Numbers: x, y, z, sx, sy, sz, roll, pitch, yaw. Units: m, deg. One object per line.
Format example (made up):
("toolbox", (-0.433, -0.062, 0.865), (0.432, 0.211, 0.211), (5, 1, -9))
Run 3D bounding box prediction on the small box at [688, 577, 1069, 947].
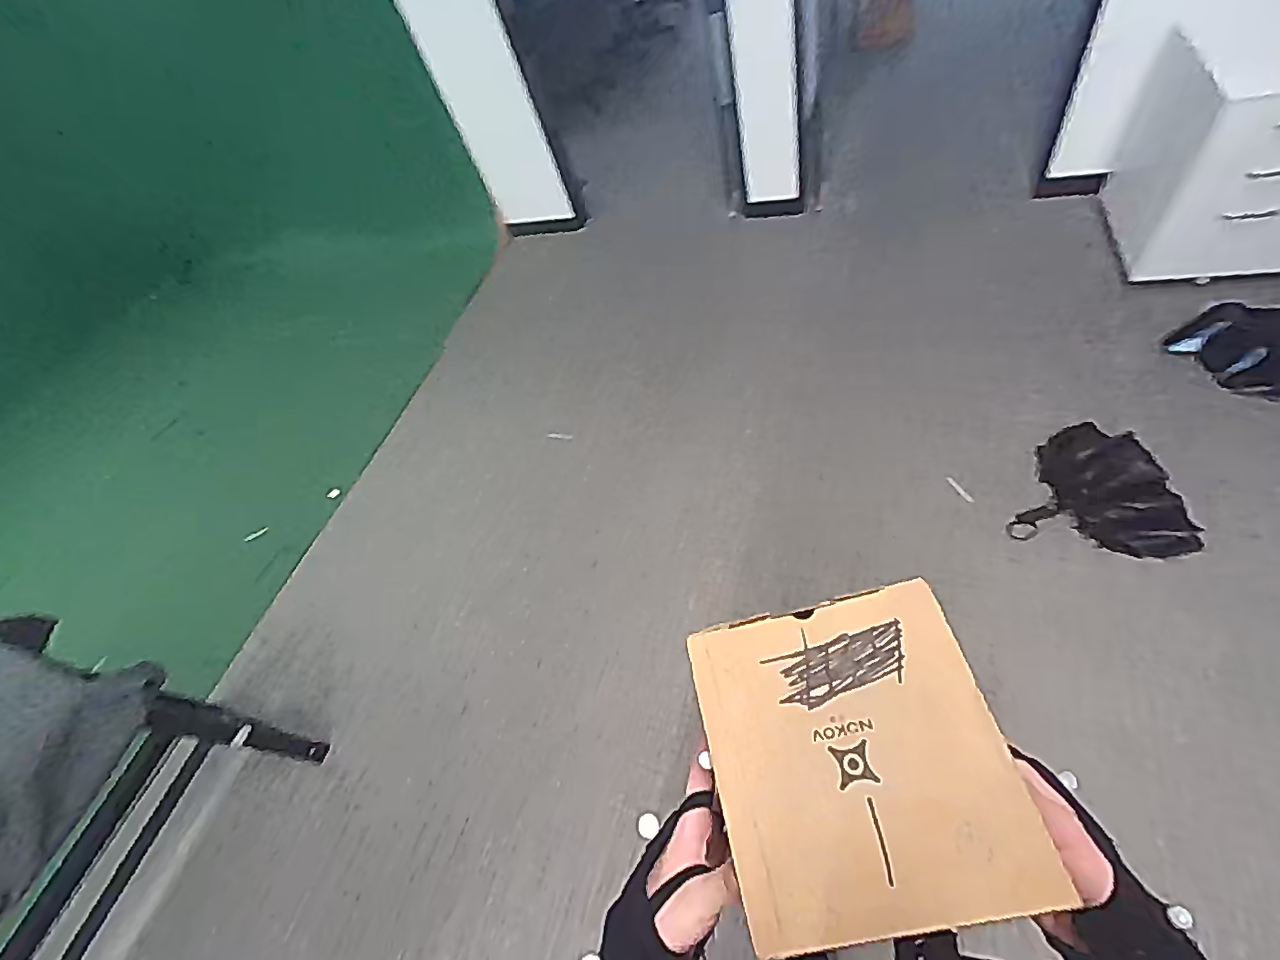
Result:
("small box", (0.141, 0.193, 0.388), (0.168, 0.176, 0.179), (-16, 59, 7))
